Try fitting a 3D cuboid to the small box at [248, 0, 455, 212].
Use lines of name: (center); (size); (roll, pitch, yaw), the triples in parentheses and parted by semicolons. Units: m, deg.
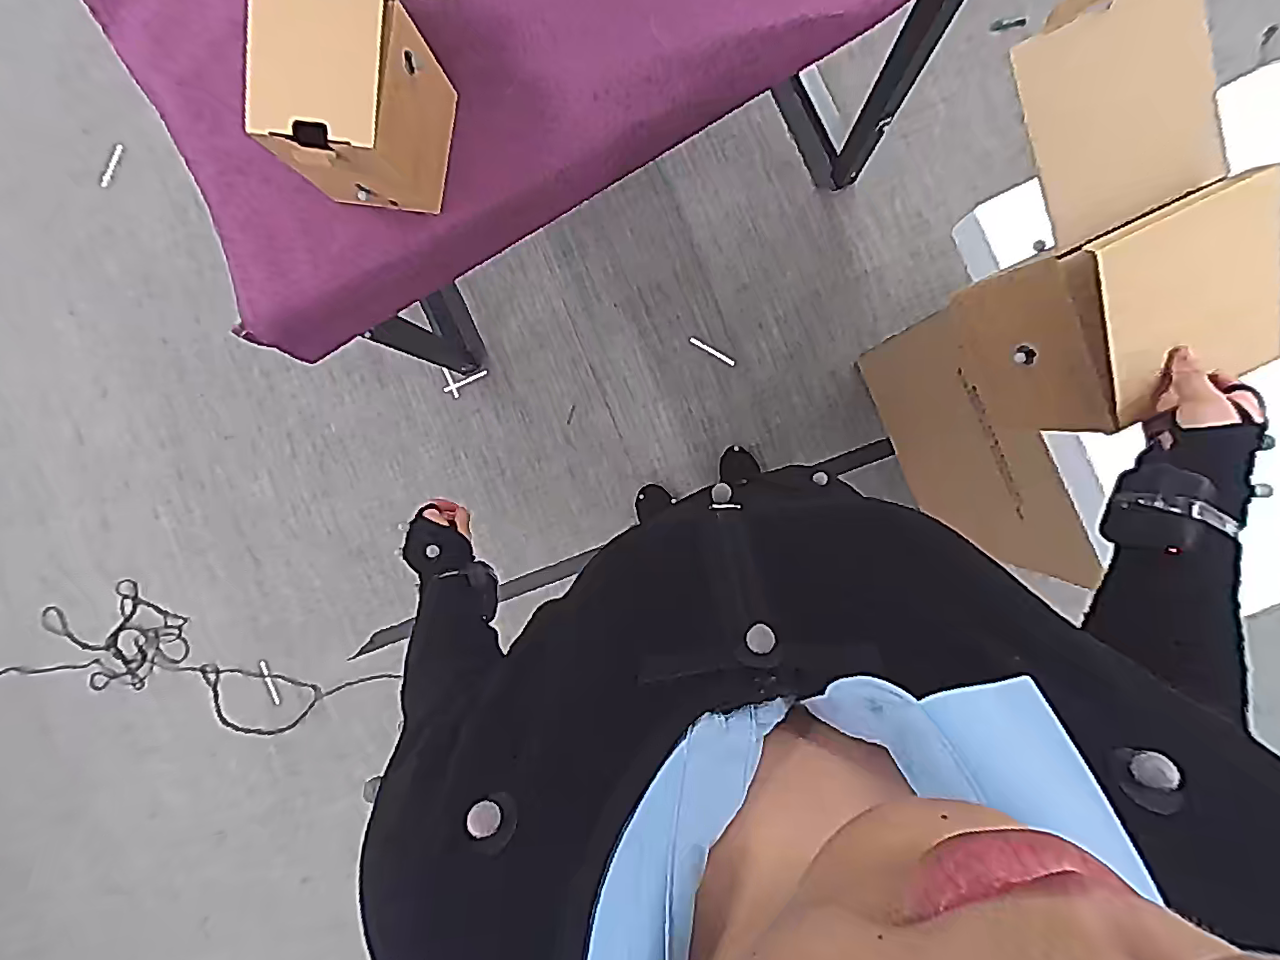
small box: (-0.361, -0.486, 0.709); (0.168, 0.176, 0.179); (10, 92, 6)
